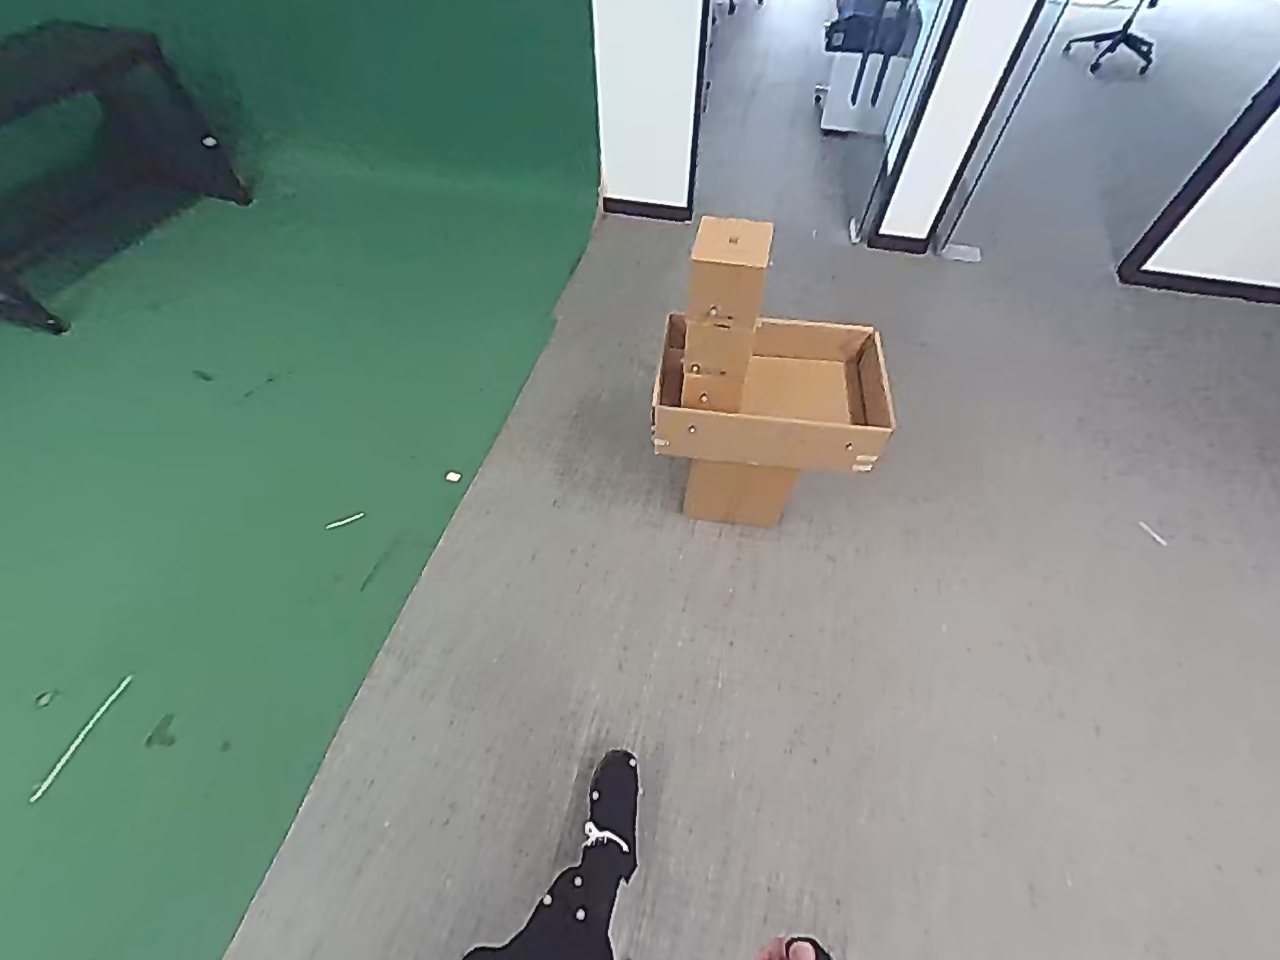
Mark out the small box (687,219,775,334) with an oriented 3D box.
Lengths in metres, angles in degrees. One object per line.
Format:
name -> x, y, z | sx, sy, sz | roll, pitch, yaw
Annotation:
small box -> 0.206, -0.468, 1.247 | 0.168, 0.176, 0.179 | 11, 55, 8

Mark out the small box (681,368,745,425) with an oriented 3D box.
small box -> 0.205, -0.274, 1.510 | 0.168, 0.176, 0.179 | 6, 54, 4

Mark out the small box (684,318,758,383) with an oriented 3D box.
small box -> 0.207, -0.369, 1.377 | 0.168, 0.176, 0.179 | 10, 54, 7
